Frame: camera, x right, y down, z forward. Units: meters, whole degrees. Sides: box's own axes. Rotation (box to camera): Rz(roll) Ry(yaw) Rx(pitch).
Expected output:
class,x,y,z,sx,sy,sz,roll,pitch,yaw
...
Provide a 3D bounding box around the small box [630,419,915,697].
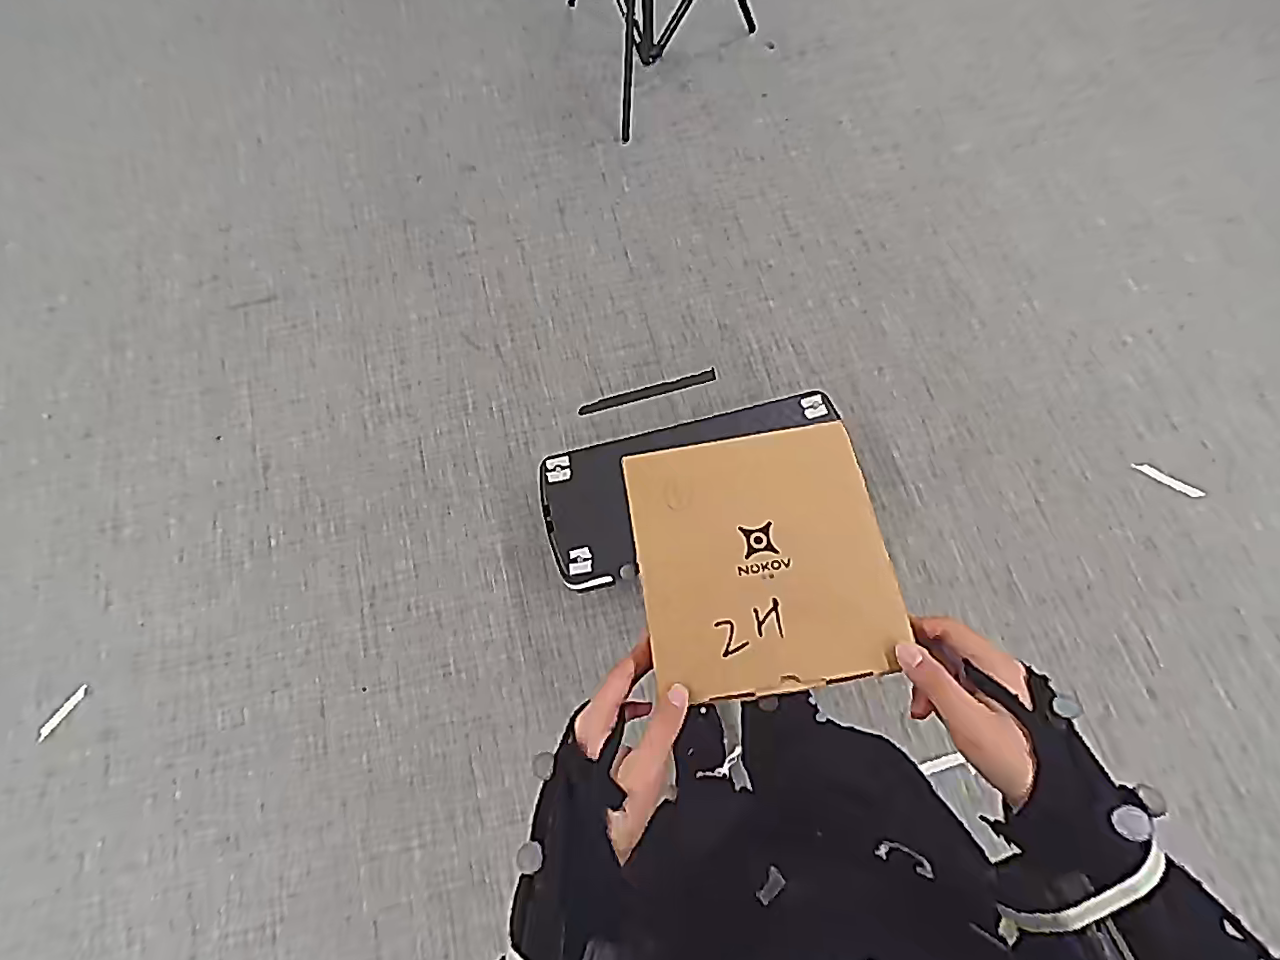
class,x,y,z,sx,sy,sz,roll,pitch,yaw
small box,0.087,0.075,0.444,0.168,0.176,0.179,-9,68,2

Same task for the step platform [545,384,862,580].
class,x,y,z,sx,sy,sz,roll,pitch,yaw
step platform,0.134,0.007,1.221,0.684,0.204,0.286,-15,73,-1
